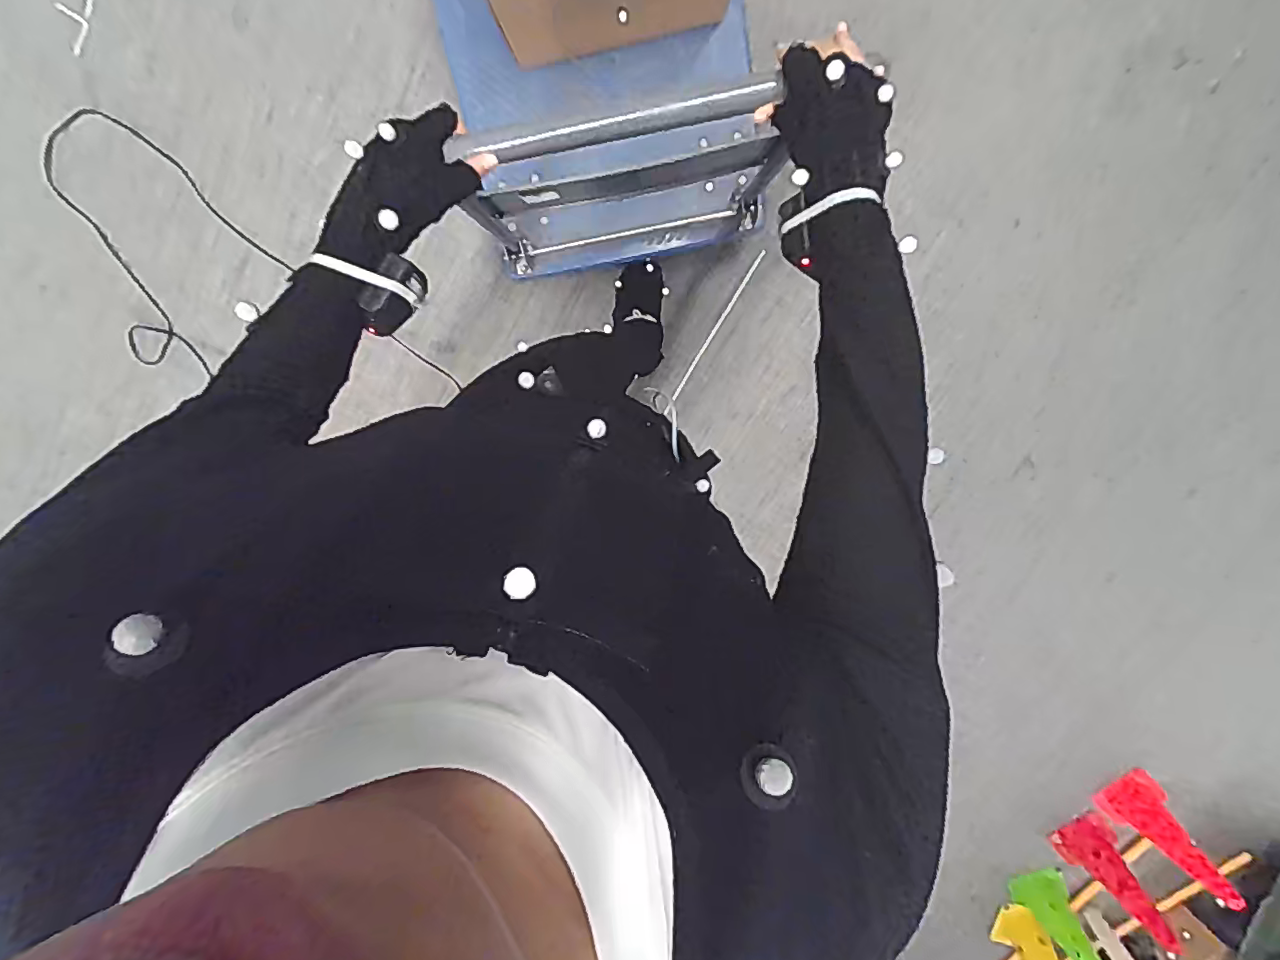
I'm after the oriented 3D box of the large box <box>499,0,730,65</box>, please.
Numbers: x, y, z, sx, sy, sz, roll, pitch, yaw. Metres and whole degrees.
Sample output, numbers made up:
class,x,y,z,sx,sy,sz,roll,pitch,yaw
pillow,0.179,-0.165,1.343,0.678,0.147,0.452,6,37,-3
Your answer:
class,x,y,z,sx,sy,sz,roll,pitch,yaw
large box,-0.056,-0.942,0.857,0.408,0.320,0.320,-13,107,3
